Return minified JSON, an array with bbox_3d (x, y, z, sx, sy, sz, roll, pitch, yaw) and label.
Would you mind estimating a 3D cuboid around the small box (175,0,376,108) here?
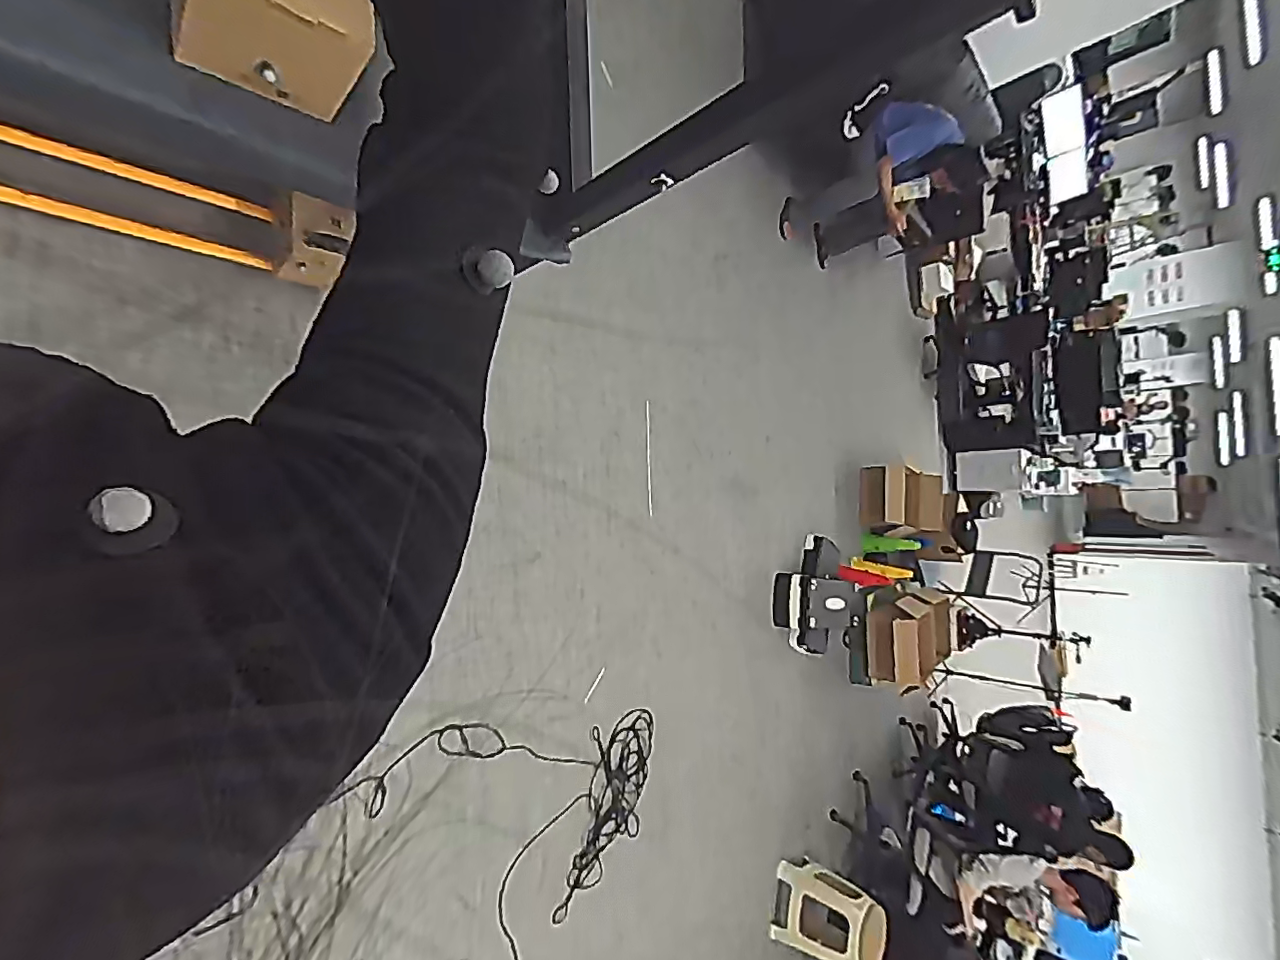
[{"bbox_3d":[-0.427,-0.592,0.629,0.168,0.176,0.179,-2,88,-46],"label":"small box"}]
